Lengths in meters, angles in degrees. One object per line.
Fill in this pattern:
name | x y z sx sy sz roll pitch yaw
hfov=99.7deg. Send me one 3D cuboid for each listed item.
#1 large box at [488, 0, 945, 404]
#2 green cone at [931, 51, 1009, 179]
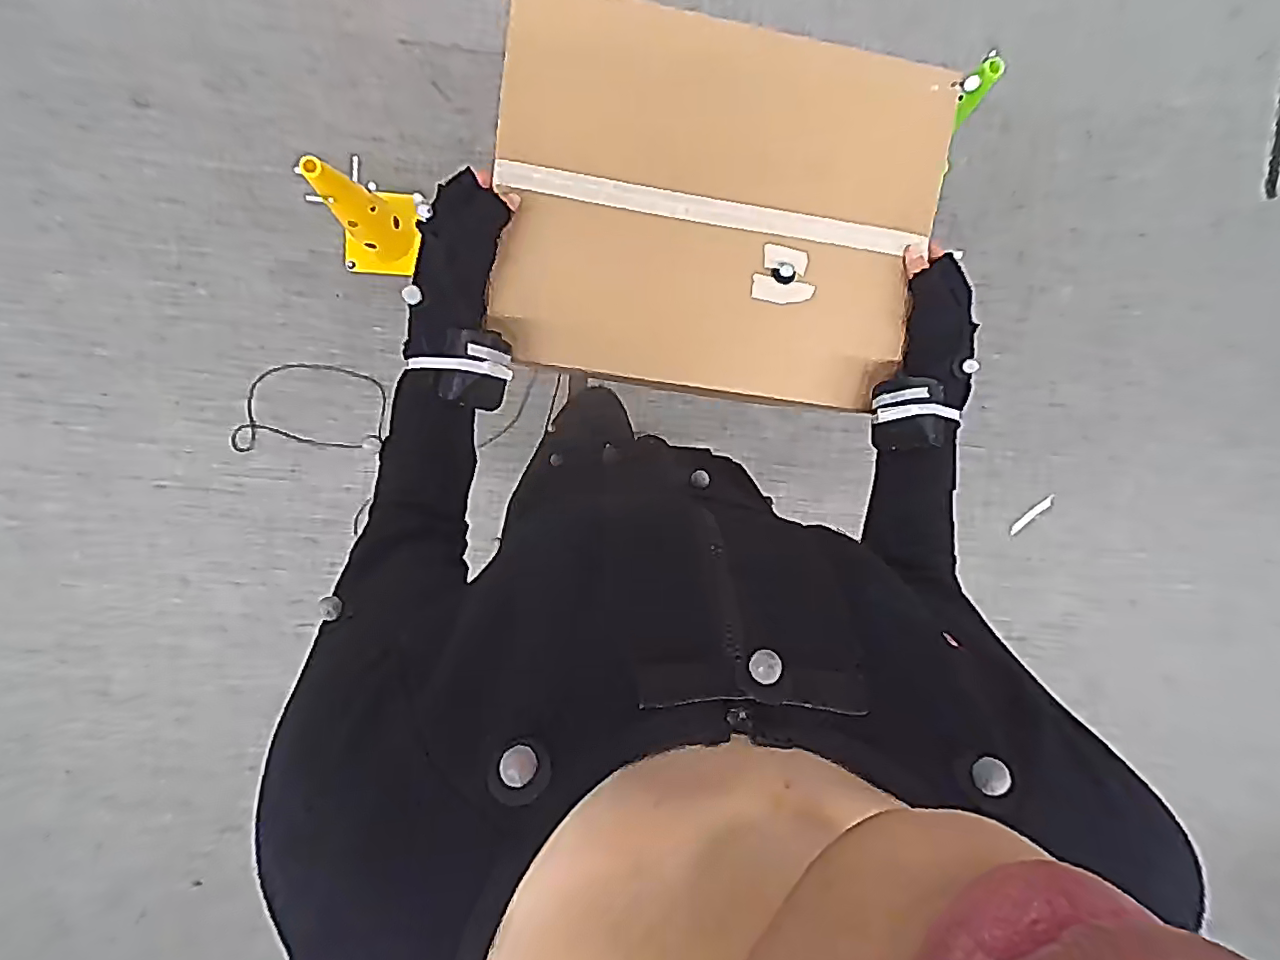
large box | 0.055 -0.269 0.647 0.408 0.320 0.320 7 99 -7
green cone | 0.697 -0.841 1.249 0.202 0.368 0.200 -33 97 -1
